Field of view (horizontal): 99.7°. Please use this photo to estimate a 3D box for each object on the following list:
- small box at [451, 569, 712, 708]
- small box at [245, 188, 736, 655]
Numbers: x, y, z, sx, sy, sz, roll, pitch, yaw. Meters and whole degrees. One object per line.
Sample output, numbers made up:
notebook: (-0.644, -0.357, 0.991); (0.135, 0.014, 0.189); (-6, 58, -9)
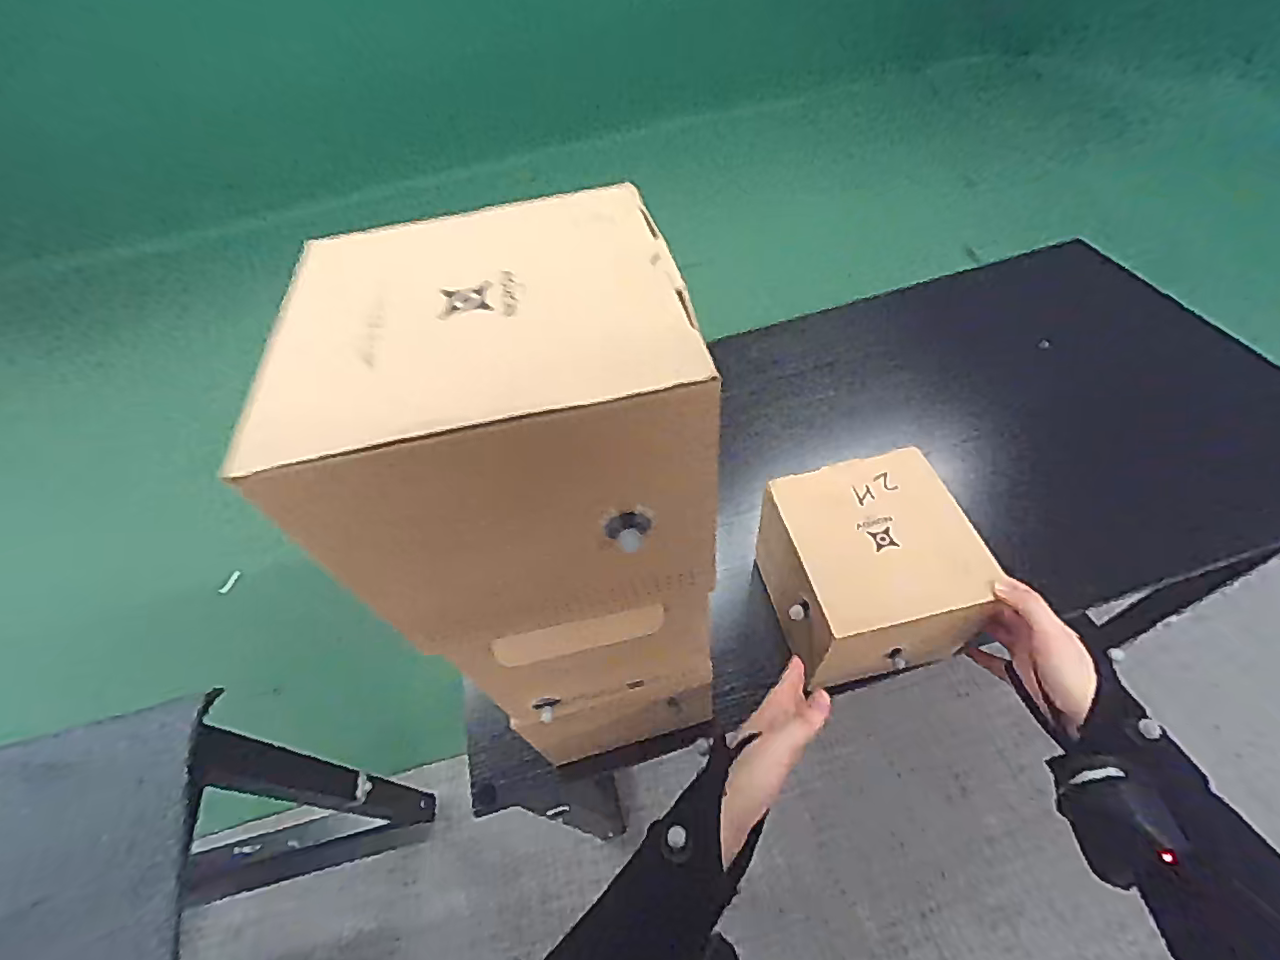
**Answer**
small box: (-0.042, 0.065, 0.432); (0.168, 0.176, 0.179); (-13, 52, -3)
small box: (-0.057, -0.026, 0.298); (0.179, 0.176, 0.168); (-13, 51, -2)
